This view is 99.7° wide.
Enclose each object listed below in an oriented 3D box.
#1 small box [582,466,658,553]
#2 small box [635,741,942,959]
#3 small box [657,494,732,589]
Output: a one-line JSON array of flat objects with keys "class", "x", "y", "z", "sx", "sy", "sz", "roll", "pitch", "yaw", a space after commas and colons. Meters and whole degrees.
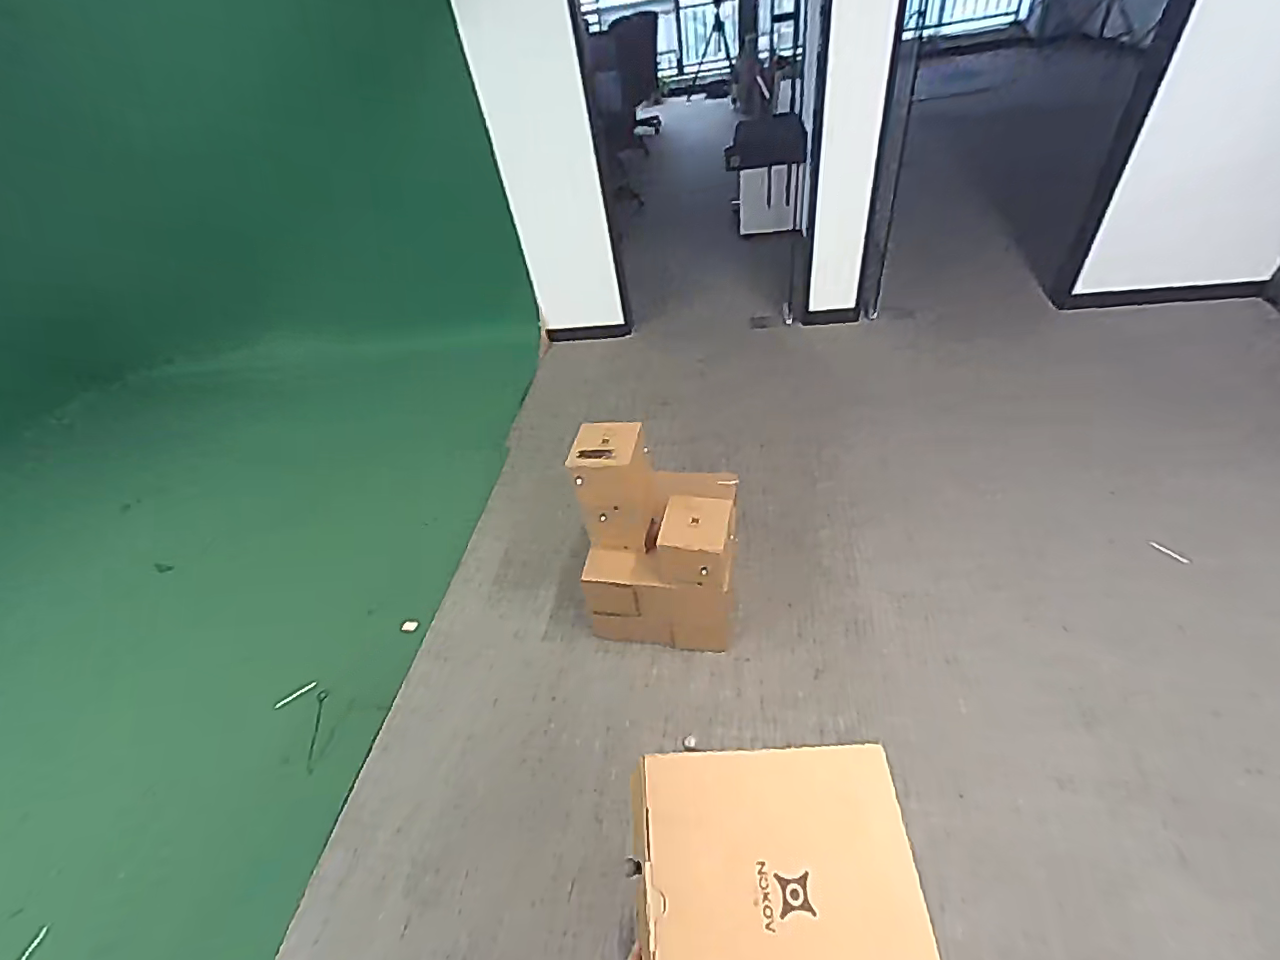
[{"class": "small box", "x": -0.048, "y": 0.082, "z": 1.538, "sx": 0.168, "sy": 0.176, "sz": 0.179, "roll": 3, "pitch": 43, "yaw": 16}, {"class": "small box", "x": 0.089, "y": 0.297, "z": 0.407, "sx": 0.179, "sy": 0.176, "sz": 0.168, "roll": -2, "pitch": 58, "yaw": -3}, {"class": "small box", "x": 0.149, "y": 0.162, "z": 1.410, "sx": 0.168, "sy": 0.176, "sz": 0.179, "roll": 5, "pitch": 44, "yaw": 15}]
